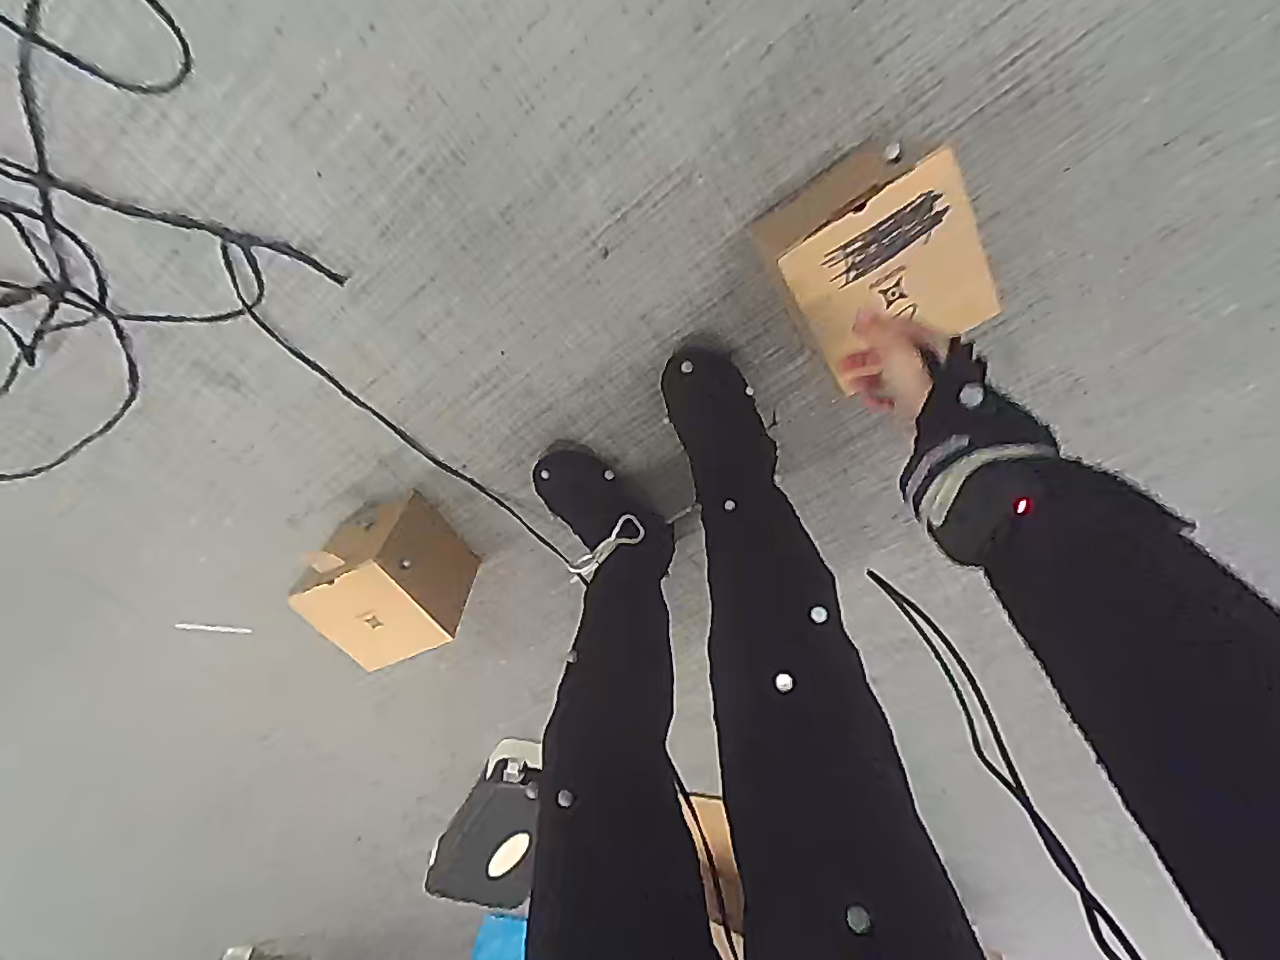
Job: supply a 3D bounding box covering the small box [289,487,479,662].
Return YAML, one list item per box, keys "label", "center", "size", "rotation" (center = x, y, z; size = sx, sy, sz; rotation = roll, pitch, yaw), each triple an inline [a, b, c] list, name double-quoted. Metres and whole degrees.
- label: "small box"
  center: [-0.377, 0.143, 0.836]
  size: [0.168, 0.176, 0.179]
  rotation: [-22, 120, 15]
